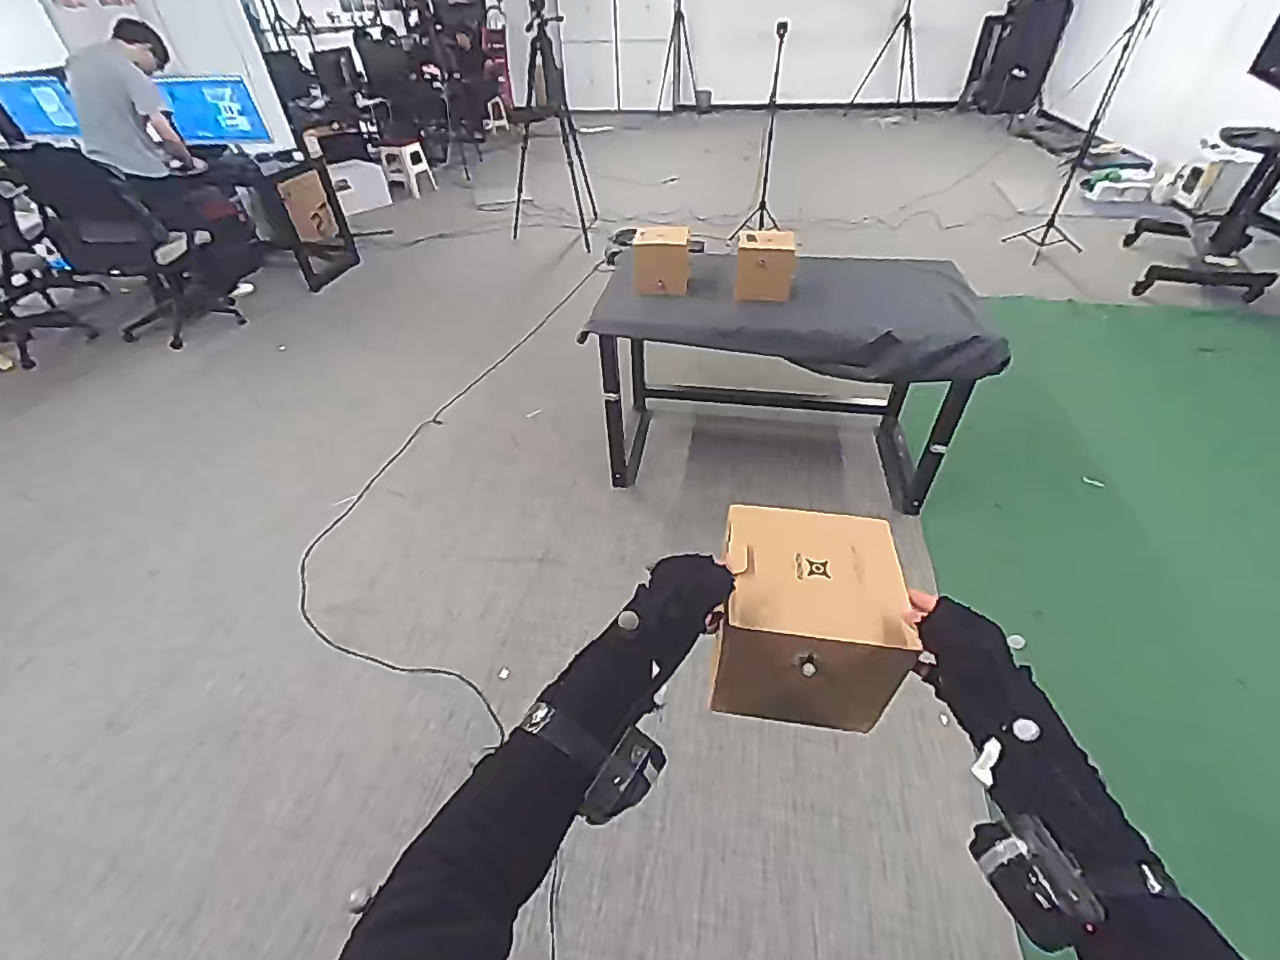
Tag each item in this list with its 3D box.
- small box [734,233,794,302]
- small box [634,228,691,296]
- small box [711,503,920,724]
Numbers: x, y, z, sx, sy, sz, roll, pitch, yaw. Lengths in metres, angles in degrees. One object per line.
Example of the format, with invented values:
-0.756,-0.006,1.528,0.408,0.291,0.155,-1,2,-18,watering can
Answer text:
0.404,-0.699,1.777,0.179,0.176,0.168,6,43,8,small box
0.077,-0.738,1.833,0.179,0.176,0.168,4,42,6,small box
0.176,0.149,0.604,0.179,0.176,0.168,7,42,4,small box
